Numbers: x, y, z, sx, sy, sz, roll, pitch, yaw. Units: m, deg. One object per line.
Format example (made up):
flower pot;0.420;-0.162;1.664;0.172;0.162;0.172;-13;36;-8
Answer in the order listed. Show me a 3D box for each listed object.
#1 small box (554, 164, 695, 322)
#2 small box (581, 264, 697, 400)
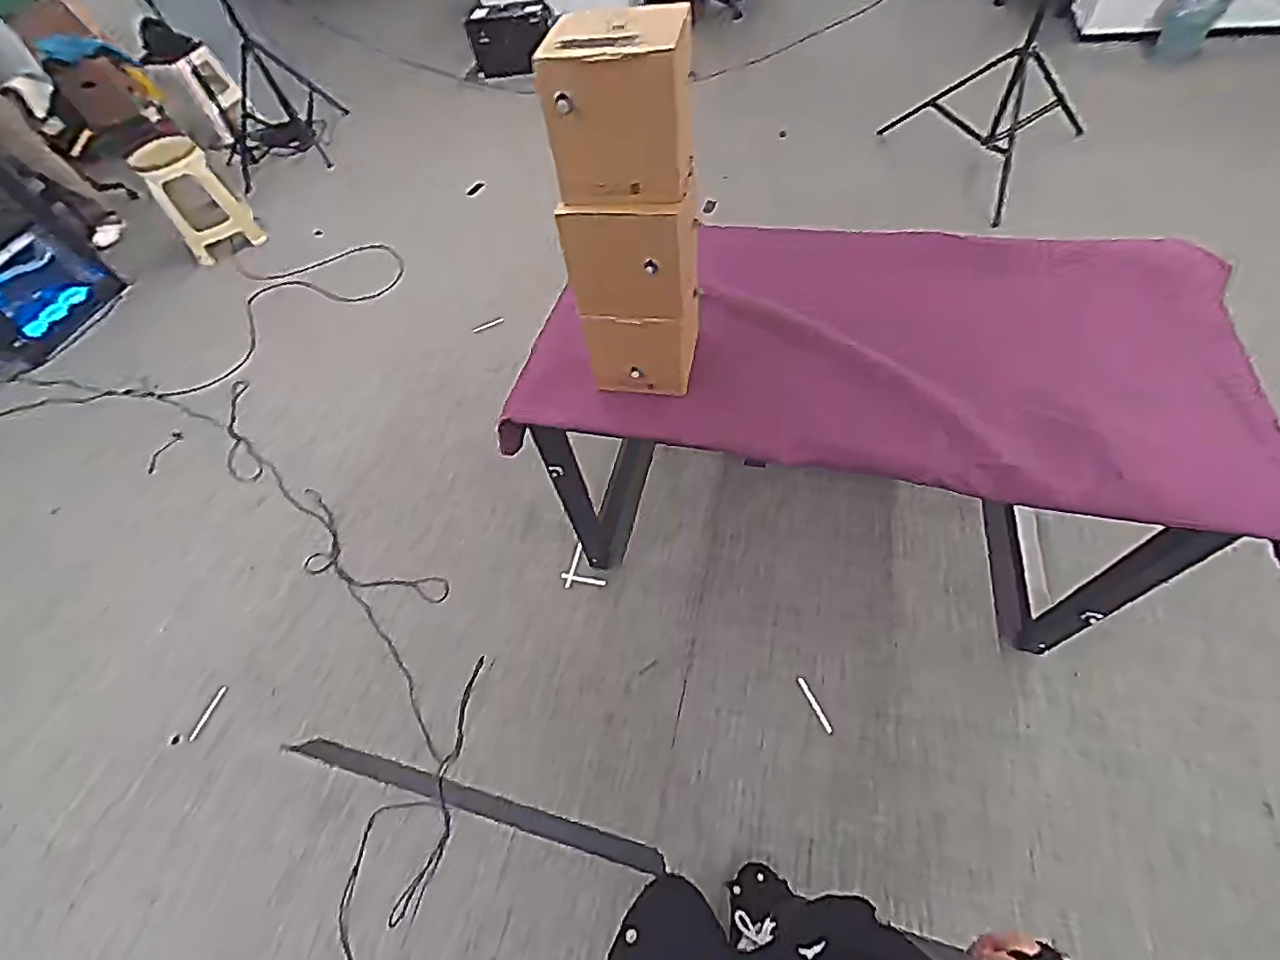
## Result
small box;-0.011;-0.361;0.836;0.179;0.176;0.168;5;55;12
small box;0.008;-0.269;0.968;0.168;0.176;0.179;6;57;12
